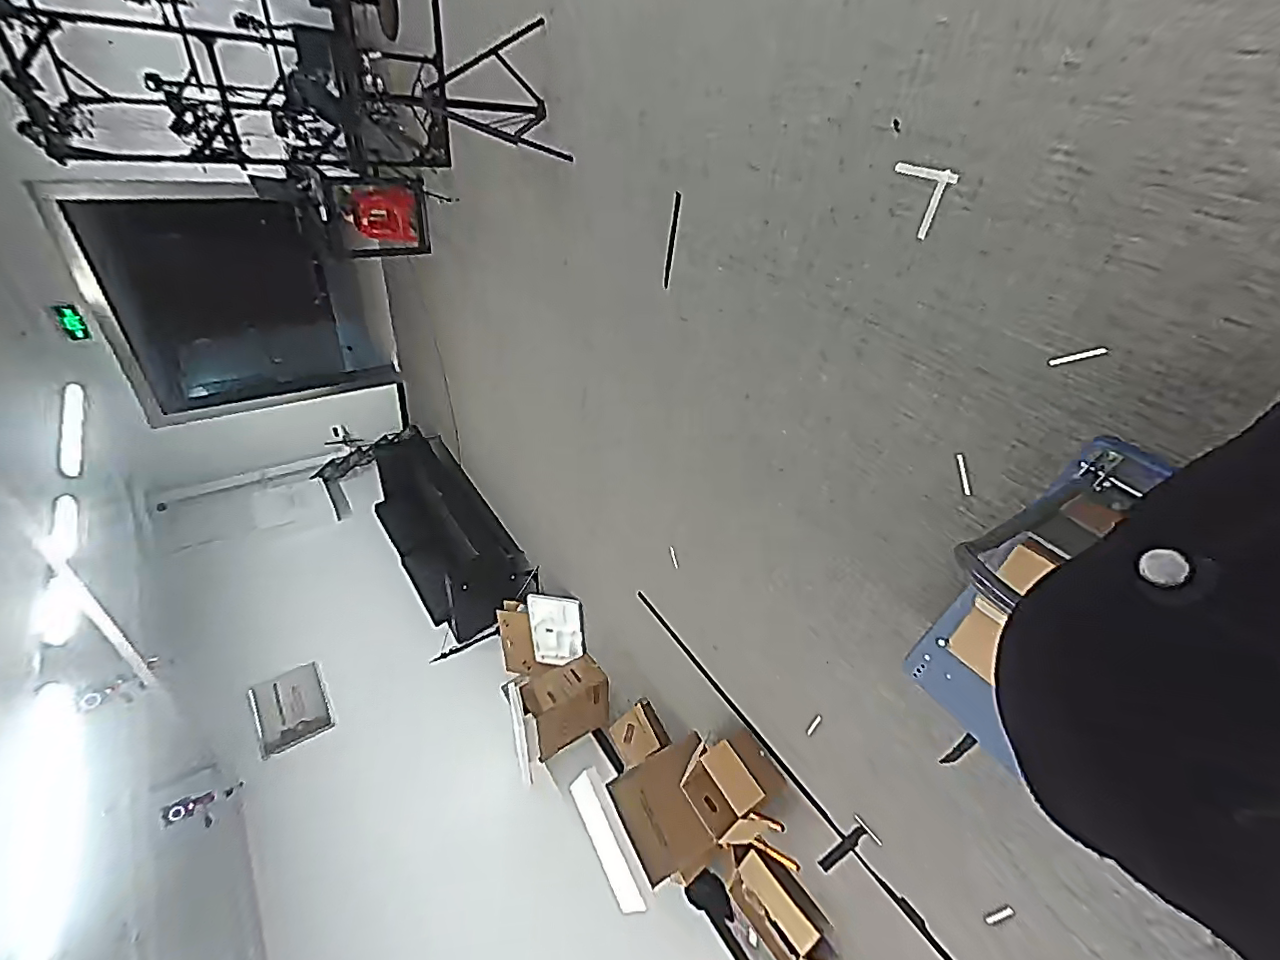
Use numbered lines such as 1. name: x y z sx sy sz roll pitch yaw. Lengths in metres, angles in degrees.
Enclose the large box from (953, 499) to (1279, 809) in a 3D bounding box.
1. large box: 0.923 0.298 1.028 0.408 0.320 0.320 44 138 39
